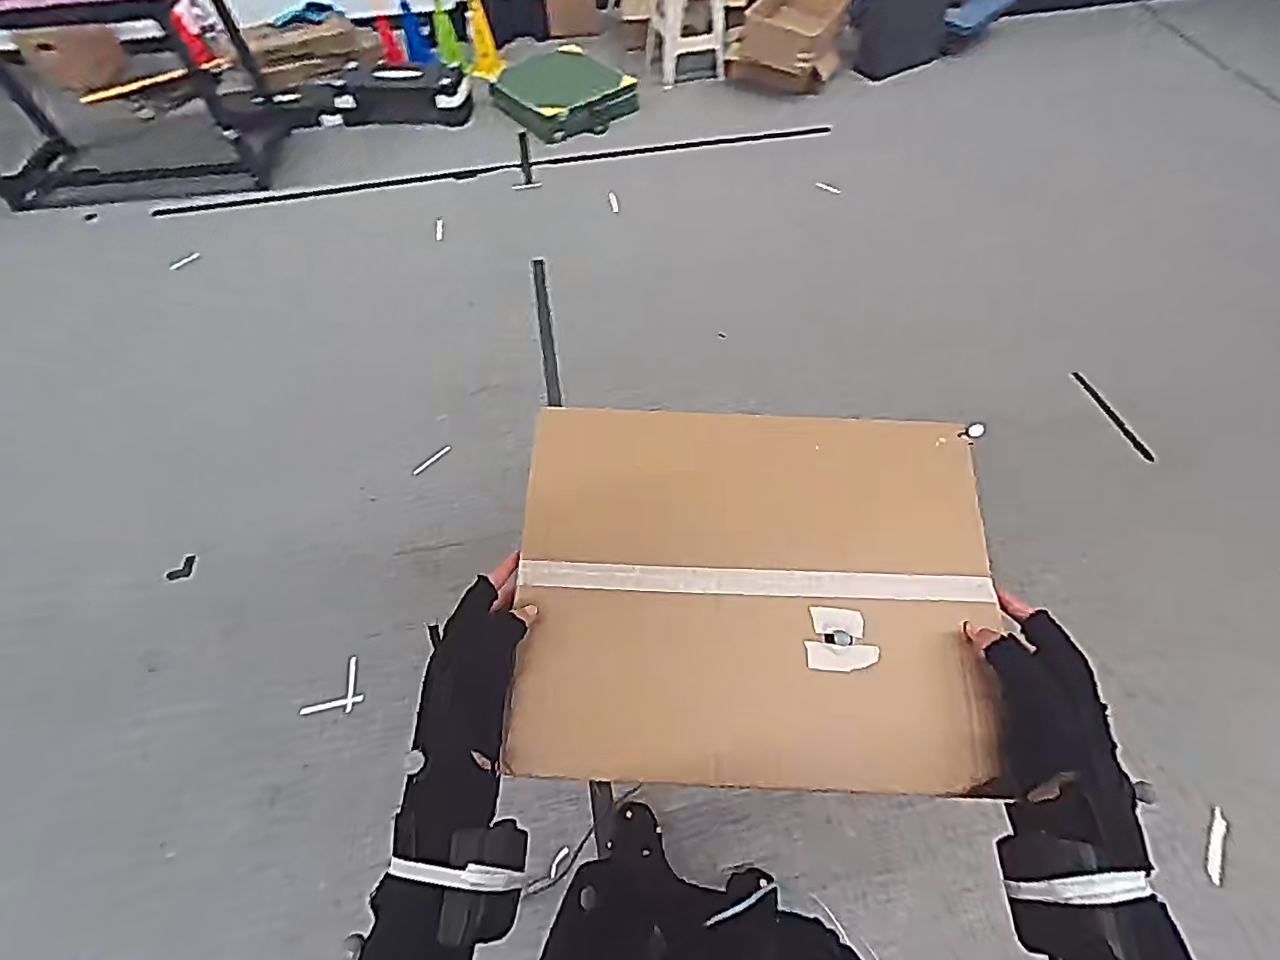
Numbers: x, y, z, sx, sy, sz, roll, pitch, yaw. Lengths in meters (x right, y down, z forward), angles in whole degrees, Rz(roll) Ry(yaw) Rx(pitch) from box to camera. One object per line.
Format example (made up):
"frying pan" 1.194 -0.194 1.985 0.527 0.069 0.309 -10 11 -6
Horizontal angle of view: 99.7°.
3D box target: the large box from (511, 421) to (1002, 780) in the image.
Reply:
"large box" 0.092 0.140 0.619 0.408 0.320 0.320 2 72 0
